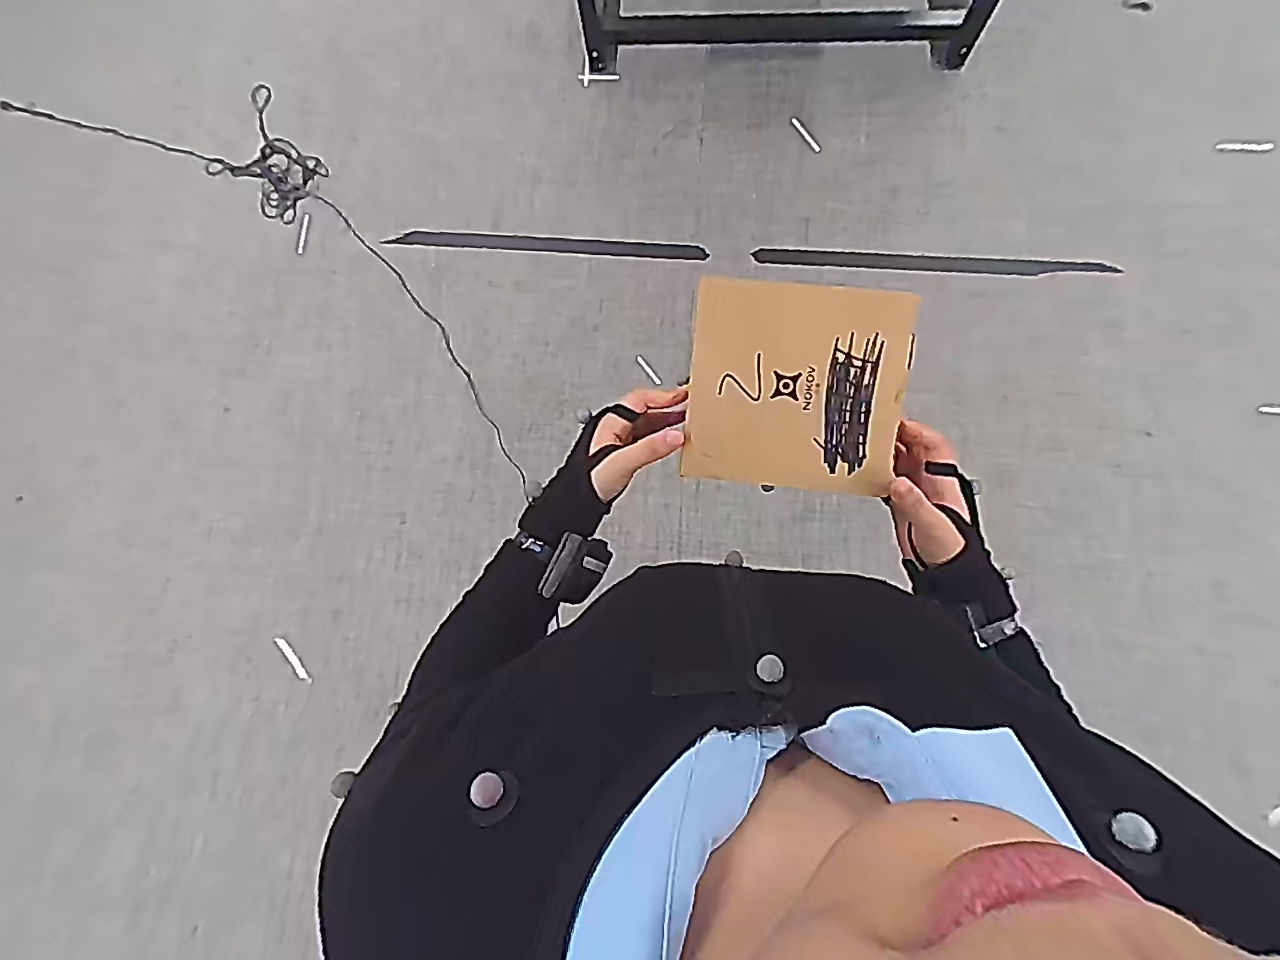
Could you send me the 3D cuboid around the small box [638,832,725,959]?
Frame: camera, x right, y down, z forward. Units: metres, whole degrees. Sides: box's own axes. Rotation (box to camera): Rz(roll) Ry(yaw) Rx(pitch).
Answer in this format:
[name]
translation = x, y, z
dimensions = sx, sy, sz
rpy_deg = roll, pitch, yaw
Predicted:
[small box]
translation = 0.089, 0.893, 1.156
dimensions = 0.168, 0.176, 0.179
rpy_deg = 4, 80, 4
